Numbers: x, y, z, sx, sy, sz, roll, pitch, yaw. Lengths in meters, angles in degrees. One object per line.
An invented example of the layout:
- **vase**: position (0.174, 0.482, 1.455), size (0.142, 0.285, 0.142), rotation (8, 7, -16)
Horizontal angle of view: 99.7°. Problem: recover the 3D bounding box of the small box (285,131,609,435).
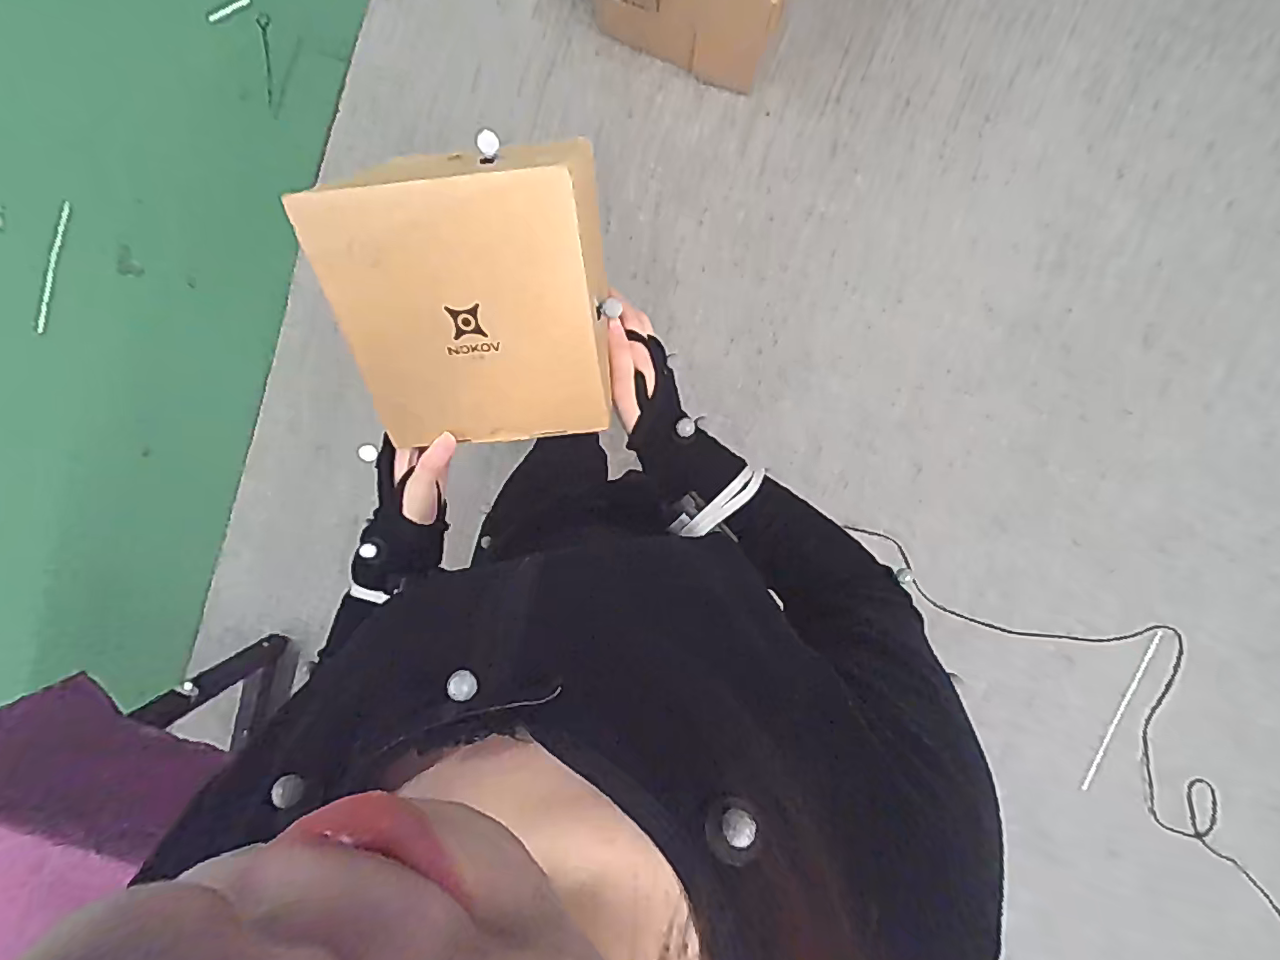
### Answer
- **small box**: position (-0.115, -0.157, 0.415), size (0.168, 0.176, 0.179), rotation (-4, 128, 3)
